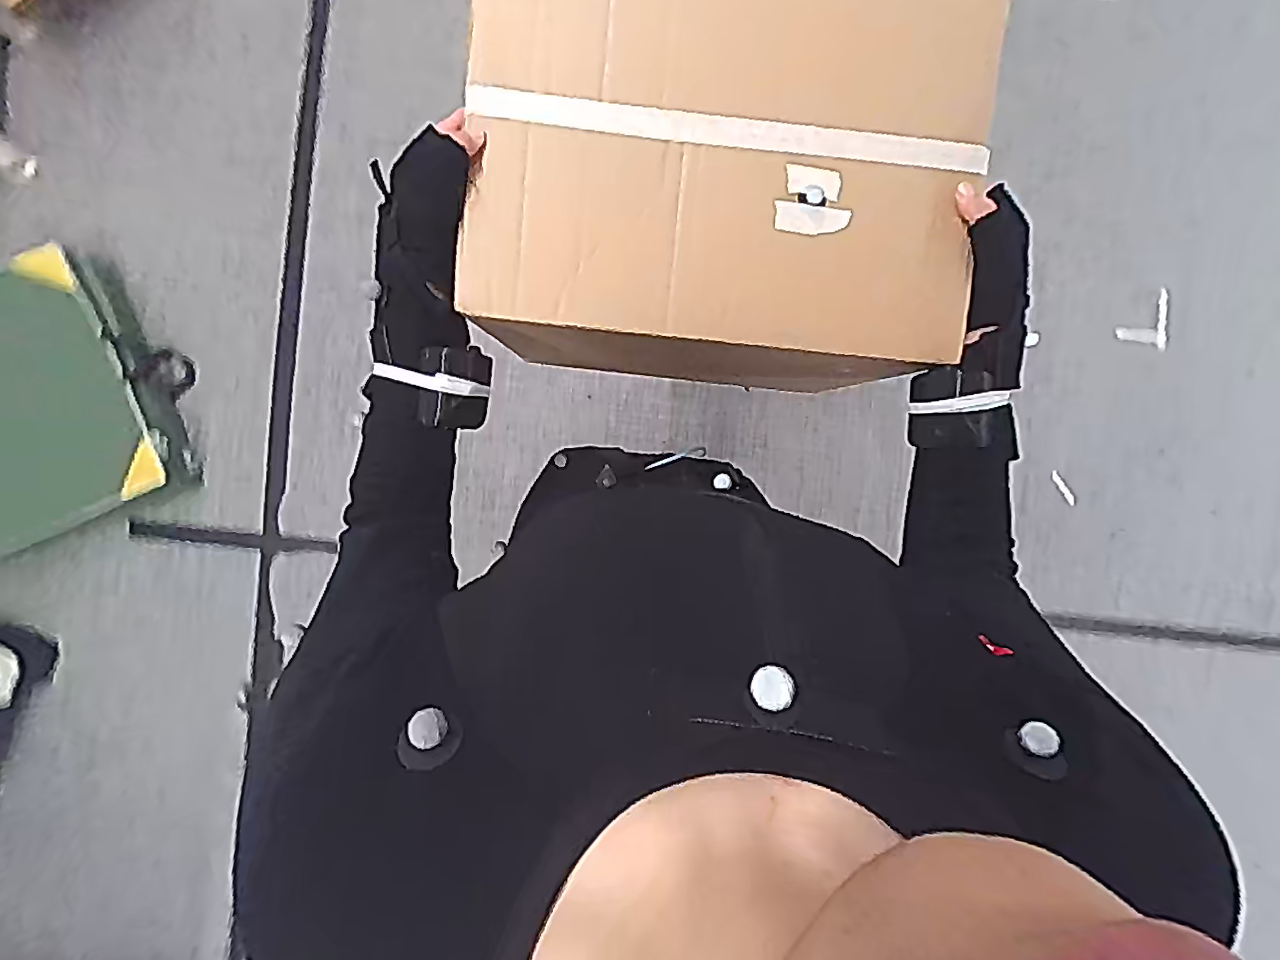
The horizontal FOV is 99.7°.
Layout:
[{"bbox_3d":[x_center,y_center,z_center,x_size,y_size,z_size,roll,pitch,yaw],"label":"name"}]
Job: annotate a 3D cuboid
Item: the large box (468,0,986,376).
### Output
[{"bbox_3d":[0.059,-0.290,0.573,0.408,0.320,0.320,4,96,-4],"label":"large box"}]
